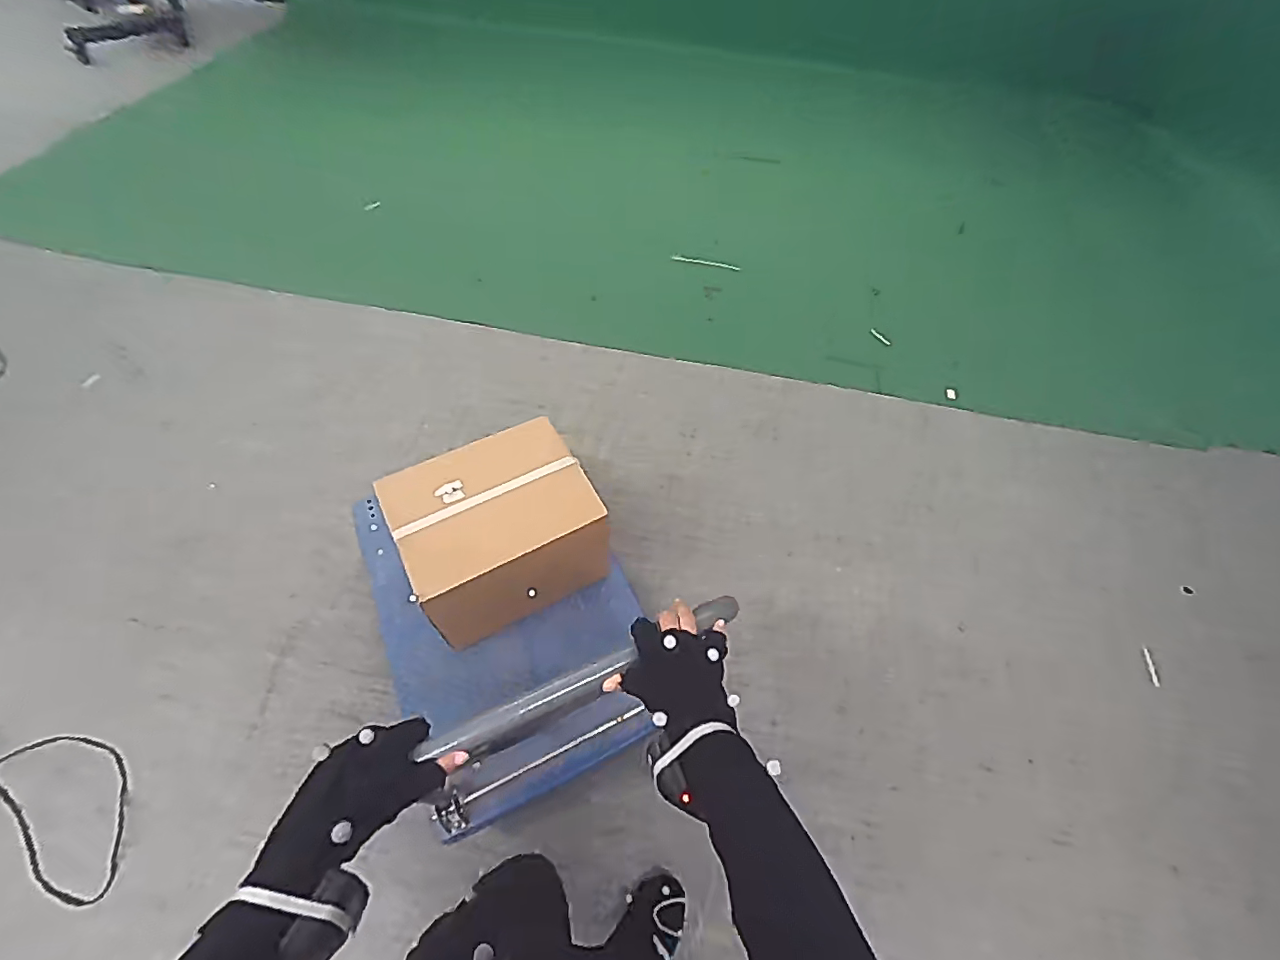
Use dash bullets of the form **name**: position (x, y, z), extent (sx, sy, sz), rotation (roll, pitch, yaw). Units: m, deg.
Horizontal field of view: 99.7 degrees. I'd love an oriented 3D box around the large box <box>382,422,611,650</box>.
- **large box**: position (-0.313, 0.134, 1.276), extent (0.408, 0.320, 0.320), rotation (-26, 61, -18)
